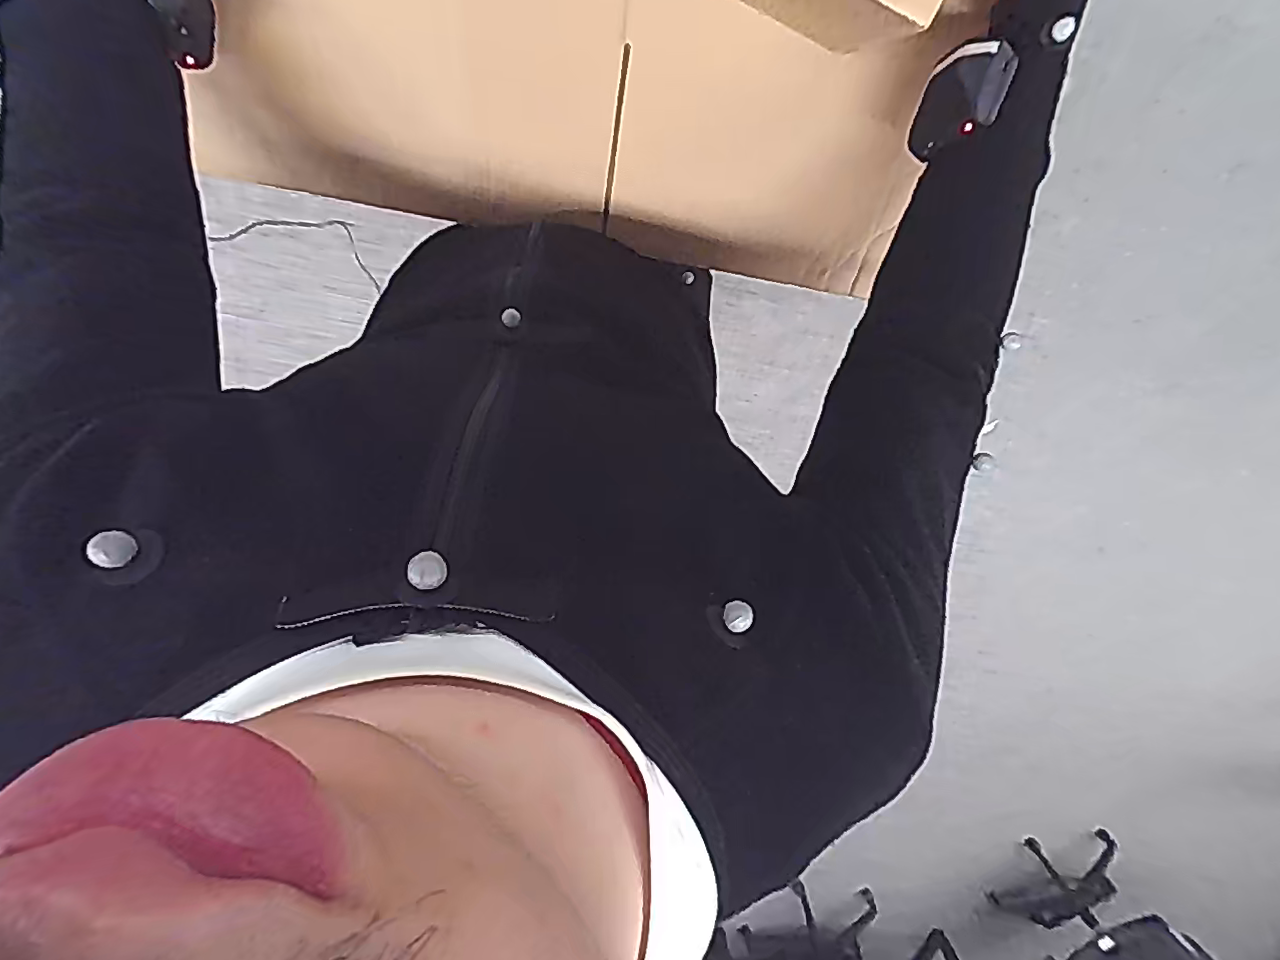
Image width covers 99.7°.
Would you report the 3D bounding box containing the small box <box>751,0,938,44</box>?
[{"bbox_3d":[0.117,-0.394,0.318,0.179,0.176,0.168,20,123,-10],"label":"small box"}]
